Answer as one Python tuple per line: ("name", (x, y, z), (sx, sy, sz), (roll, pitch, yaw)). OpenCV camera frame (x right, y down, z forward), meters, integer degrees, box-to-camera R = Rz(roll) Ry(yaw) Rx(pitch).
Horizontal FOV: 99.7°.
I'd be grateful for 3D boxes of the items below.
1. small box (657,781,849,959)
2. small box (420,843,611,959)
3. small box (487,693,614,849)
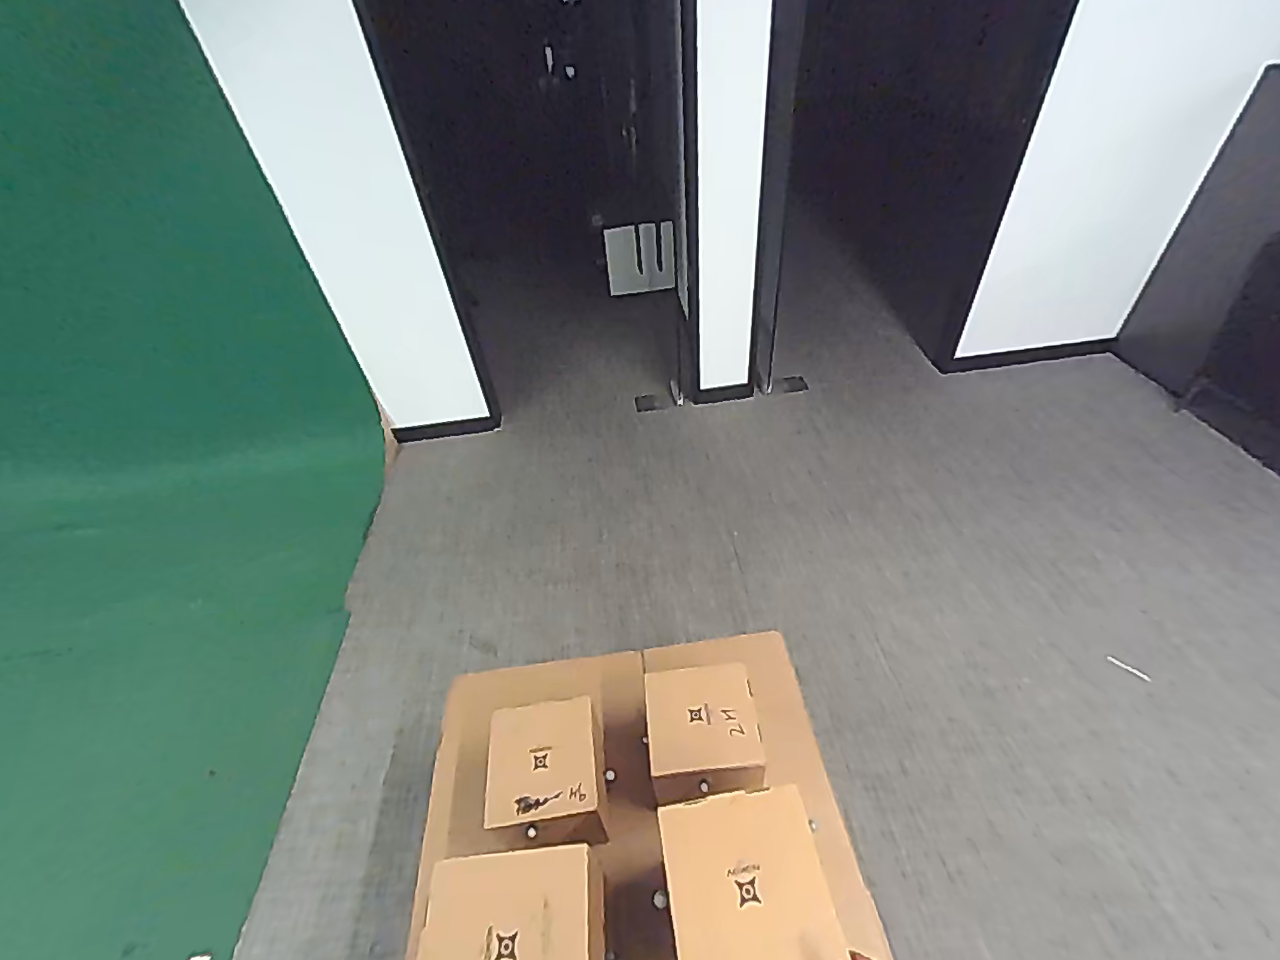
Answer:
("small box", (0.120, 0.477, 0.617), (0.168, 0.176, 0.179), (-10, 43, -1))
("small box", (-0.129, 0.526, 0.600), (0.179, 0.176, 0.168), (-6, 44, 0))
("small box", (-0.139, 0.482, 0.886), (0.168, 0.176, 0.179), (-10, 42, -1))
